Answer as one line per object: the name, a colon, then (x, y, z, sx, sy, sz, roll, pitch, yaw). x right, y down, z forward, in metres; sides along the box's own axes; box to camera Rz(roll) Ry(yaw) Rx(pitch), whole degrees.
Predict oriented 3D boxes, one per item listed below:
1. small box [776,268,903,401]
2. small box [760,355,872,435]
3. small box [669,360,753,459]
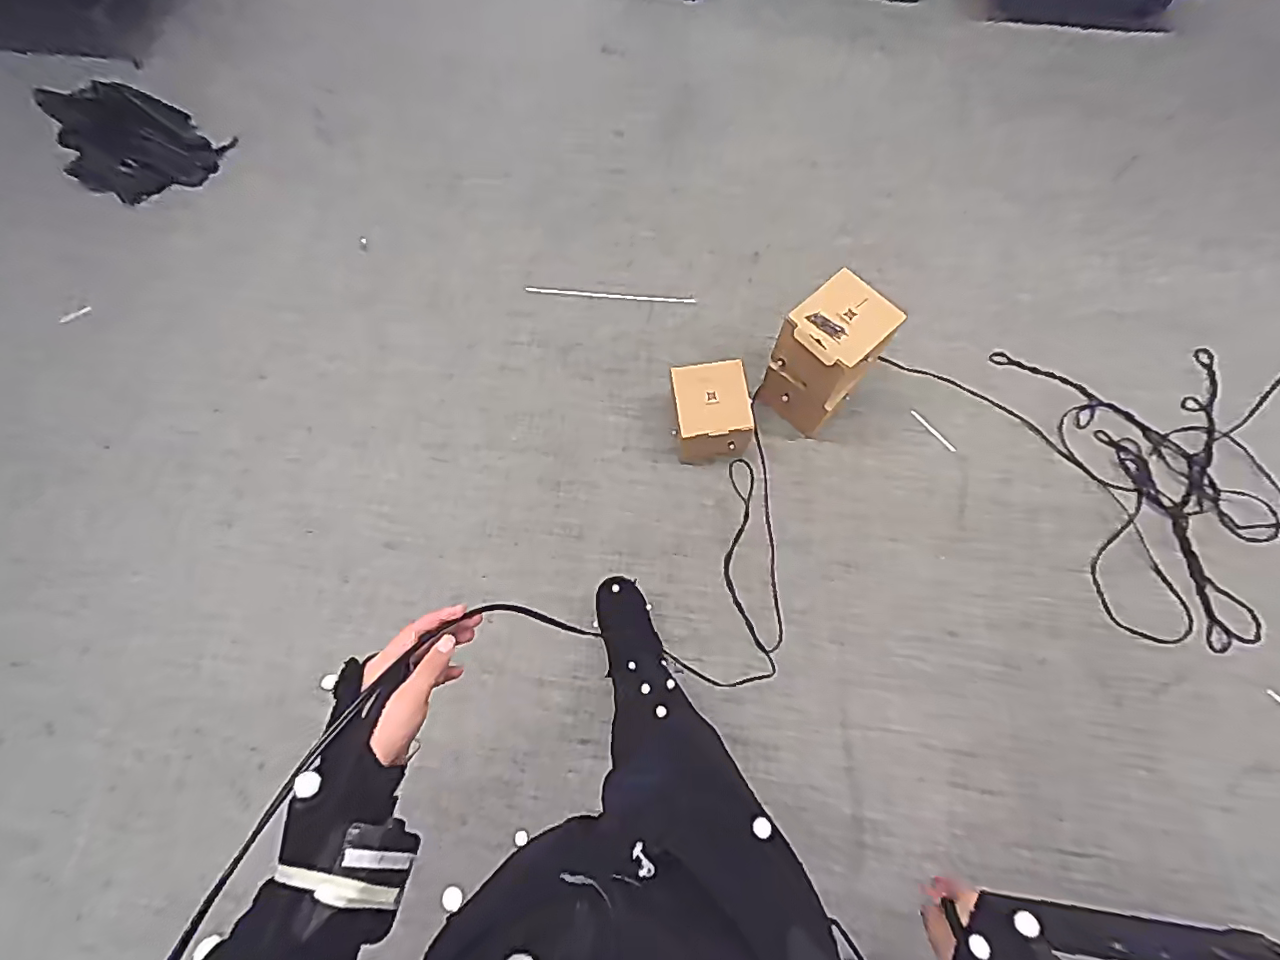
small box: (0.408, -0.298, 1.146, 0.179, 0.176, 0.168, -41, 76, -11)
small box: (0.411, -0.238, 1.300, 0.179, 0.176, 0.168, 41, 78, 14)
small box: (0.164, -0.159, 1.291, 0.168, 0.176, 0.179, -8, 72, 0)
